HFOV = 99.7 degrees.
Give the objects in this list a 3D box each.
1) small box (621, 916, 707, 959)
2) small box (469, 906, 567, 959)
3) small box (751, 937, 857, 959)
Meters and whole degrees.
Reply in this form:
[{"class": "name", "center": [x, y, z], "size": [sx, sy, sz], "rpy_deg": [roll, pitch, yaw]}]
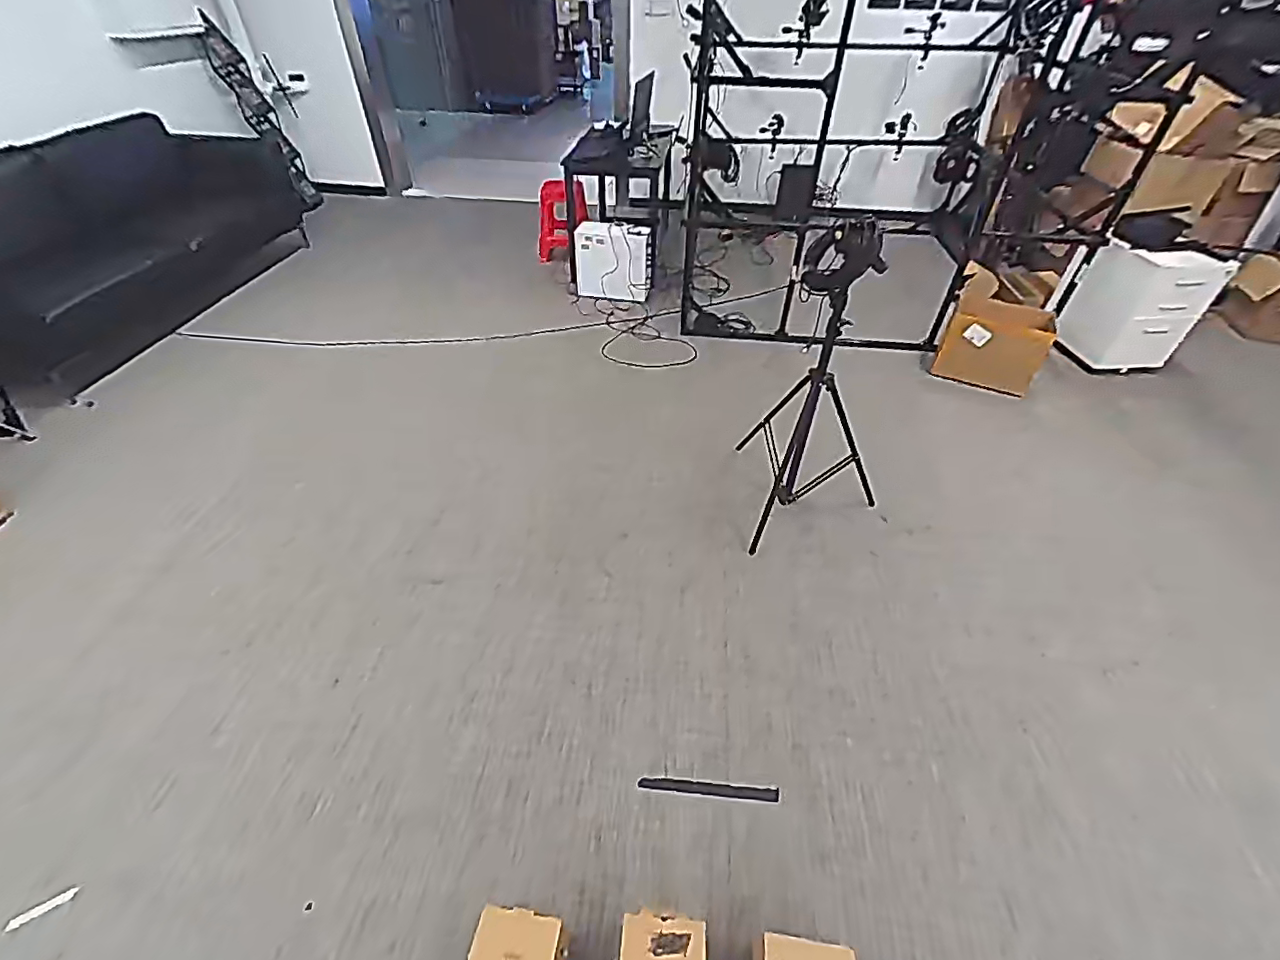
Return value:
[{"class": "small box", "center": [0.041, 0.993, 1.064], "size": [0.168, 0.176, 0.179], "rpy_deg": [4, 43, 4]}, {"class": "small box", "center": [-0.247, 0.985, 1.073], "size": [0.168, 0.176, 0.179], "rpy_deg": [6, 44, 7]}, {"class": "small box", "center": [0.316, 1.017, 1.045], "size": [0.179, 0.176, 0.168], "rpy_deg": [7, 43, 6]}]
